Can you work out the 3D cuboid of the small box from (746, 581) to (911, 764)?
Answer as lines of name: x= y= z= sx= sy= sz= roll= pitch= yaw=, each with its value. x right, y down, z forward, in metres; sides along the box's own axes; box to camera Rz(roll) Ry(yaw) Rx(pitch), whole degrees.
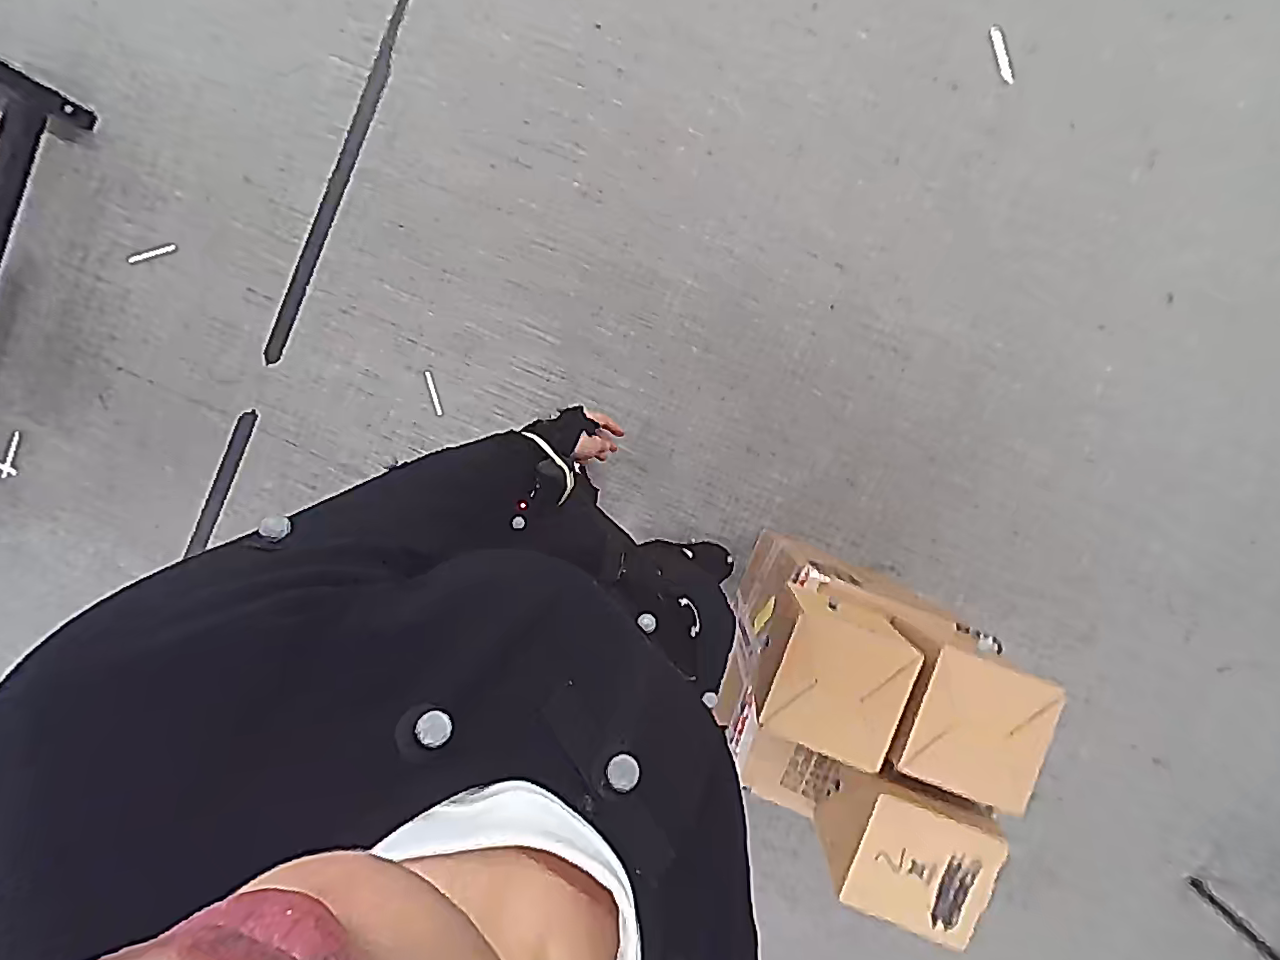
small box: x=0.269 y=0.274 z=0.800 sx=0.168 sy=0.176 sz=0.179 roll=20 pitch=94 yaw=6
